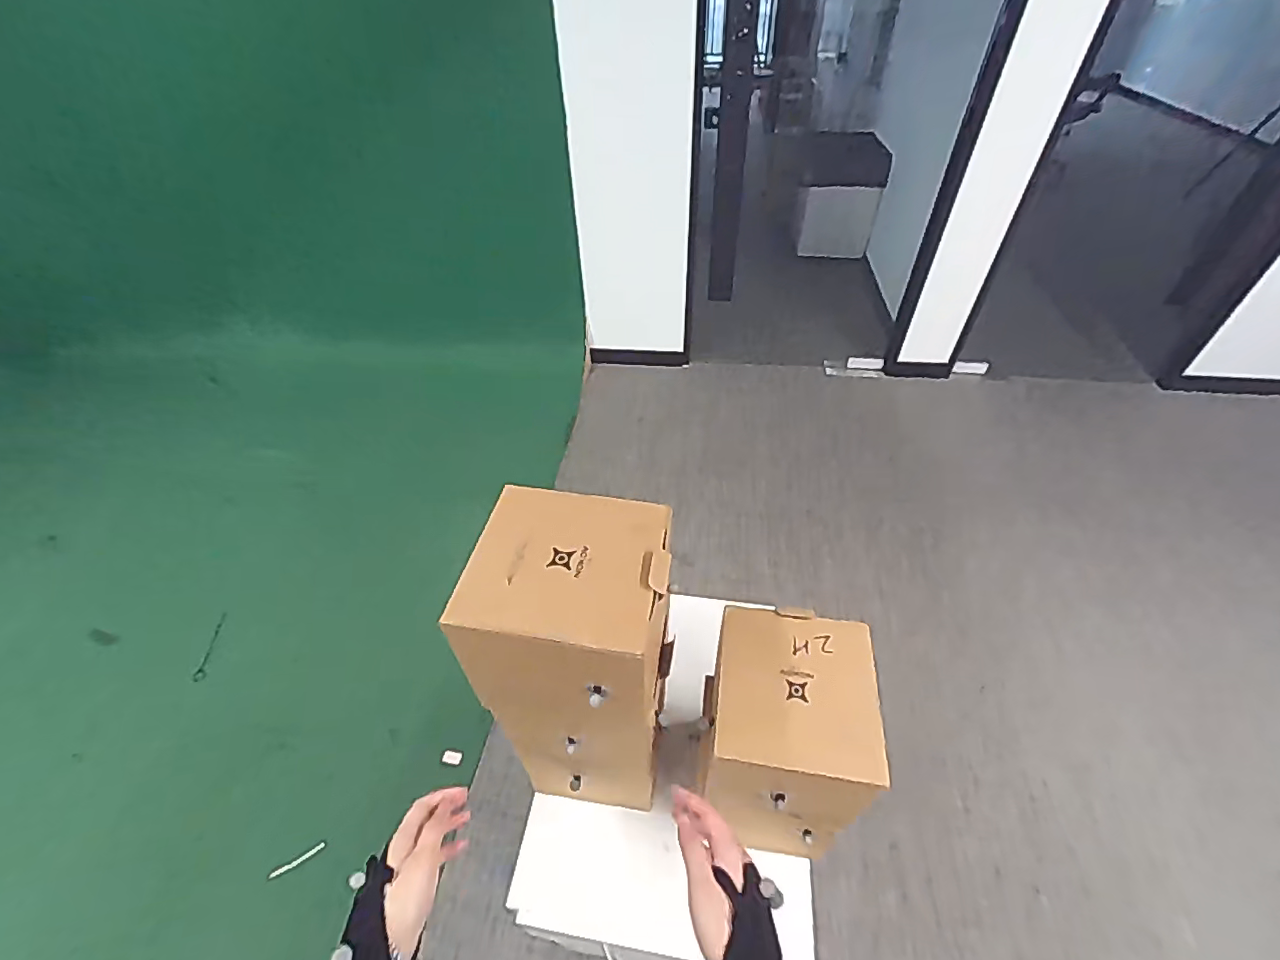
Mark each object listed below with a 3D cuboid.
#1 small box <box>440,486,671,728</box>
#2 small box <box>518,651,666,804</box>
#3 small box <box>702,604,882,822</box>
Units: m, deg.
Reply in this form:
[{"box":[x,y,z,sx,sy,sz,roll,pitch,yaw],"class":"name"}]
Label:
[{"box":[-0.067,0.130,0.547,0.179,0.176,0.168,6,45,7],"class":"small box"},{"box":[-0.059,0.352,0.789,0.179,0.176,0.168,6,46,6],"class":"small box"},{"box":[0.165,0.273,0.631,0.168,0.176,0.179,7,46,8],"class":"small box"}]
